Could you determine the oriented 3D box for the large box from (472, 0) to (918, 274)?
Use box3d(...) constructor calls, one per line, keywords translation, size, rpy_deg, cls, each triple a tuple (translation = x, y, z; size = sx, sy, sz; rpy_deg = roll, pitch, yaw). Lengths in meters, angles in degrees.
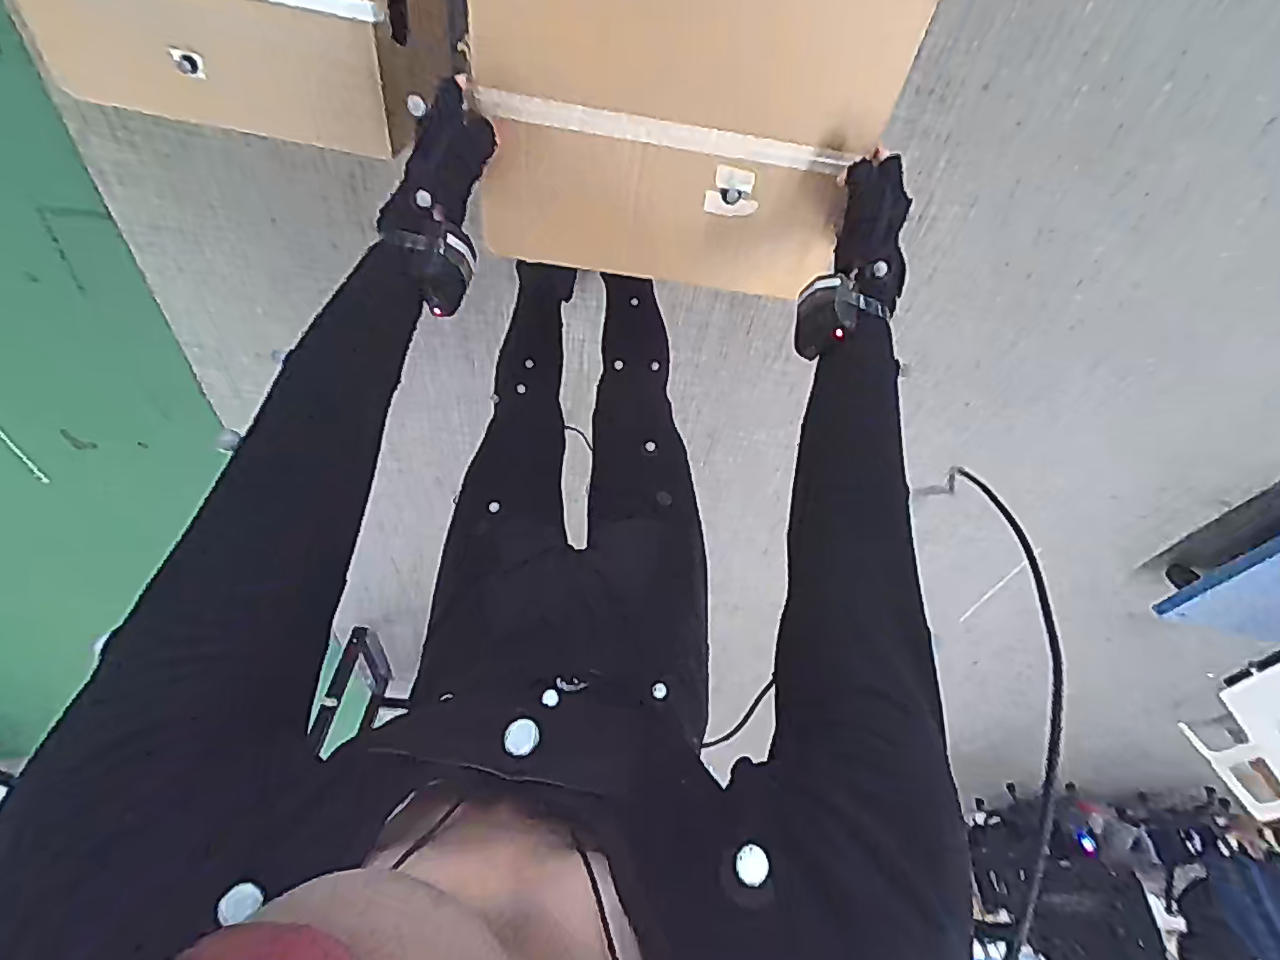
box3d(translation=(0.032, -0.483, 0.643), size=(0.408, 0.320, 0.320), rpy_deg=(5, 137, -9), cls="large box")
